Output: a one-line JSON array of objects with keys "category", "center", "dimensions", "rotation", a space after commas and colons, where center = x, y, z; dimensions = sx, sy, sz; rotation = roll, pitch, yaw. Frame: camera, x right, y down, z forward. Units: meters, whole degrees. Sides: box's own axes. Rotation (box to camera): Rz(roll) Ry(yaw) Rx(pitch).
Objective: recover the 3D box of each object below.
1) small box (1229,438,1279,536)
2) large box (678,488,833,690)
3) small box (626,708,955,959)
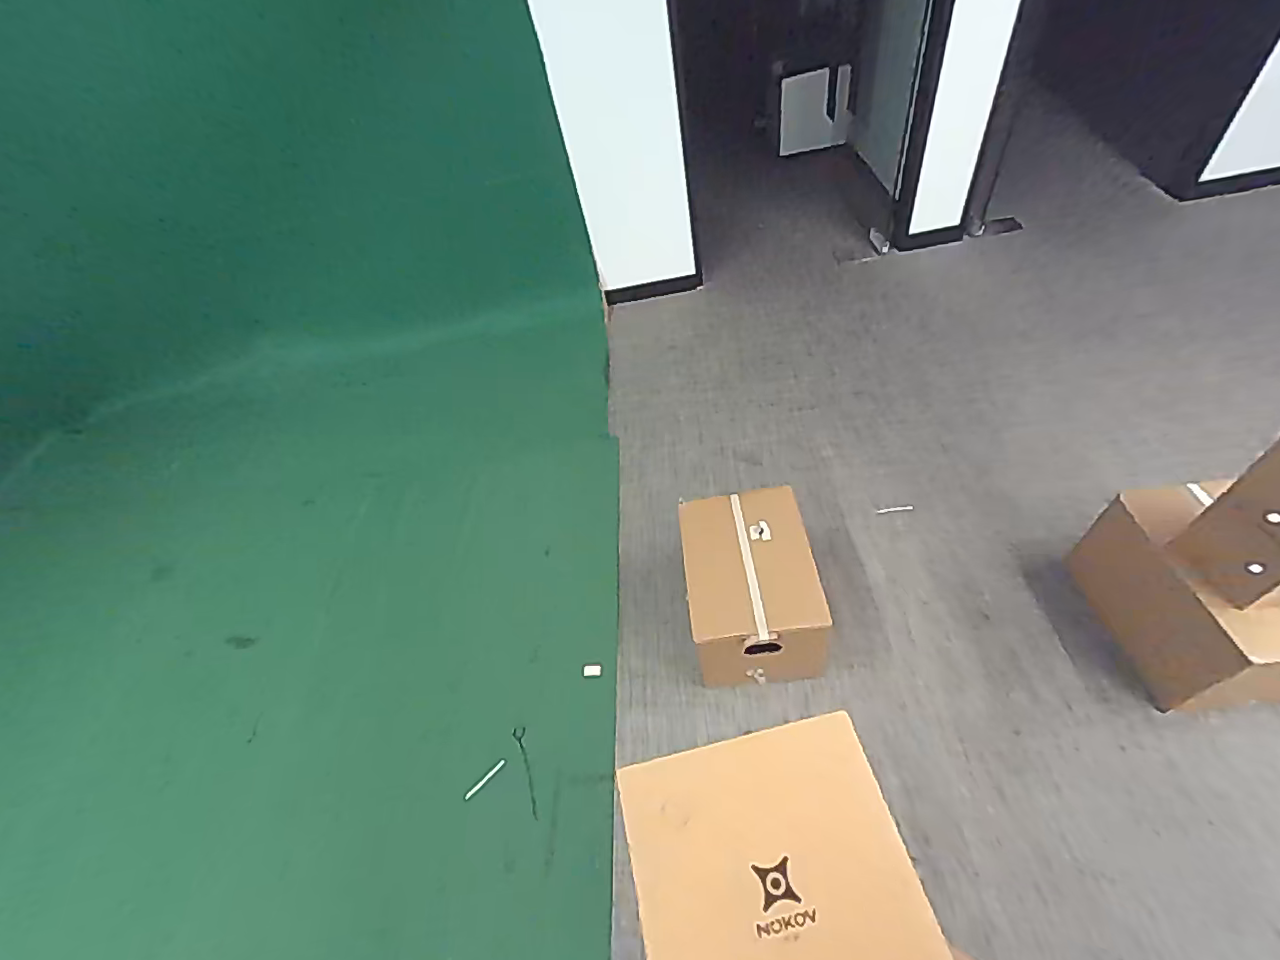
[{"category": "small box", "center": [1.191, 0.012, 0.911], "dimensions": [0.168, 0.176, 0.179], "rotation": [-16, 50, 2]}, {"category": "large box", "center": [0.296, 0.292, 1.440], "dimensions": [0.320, 0.320, 0.408], "rotation": [-9, 49, 7]}, {"category": "small box", "center": [0.090, 0.292, 0.388], "dimensions": [0.168, 0.176, 0.179], "rotation": [-13, 53, -4]}]
